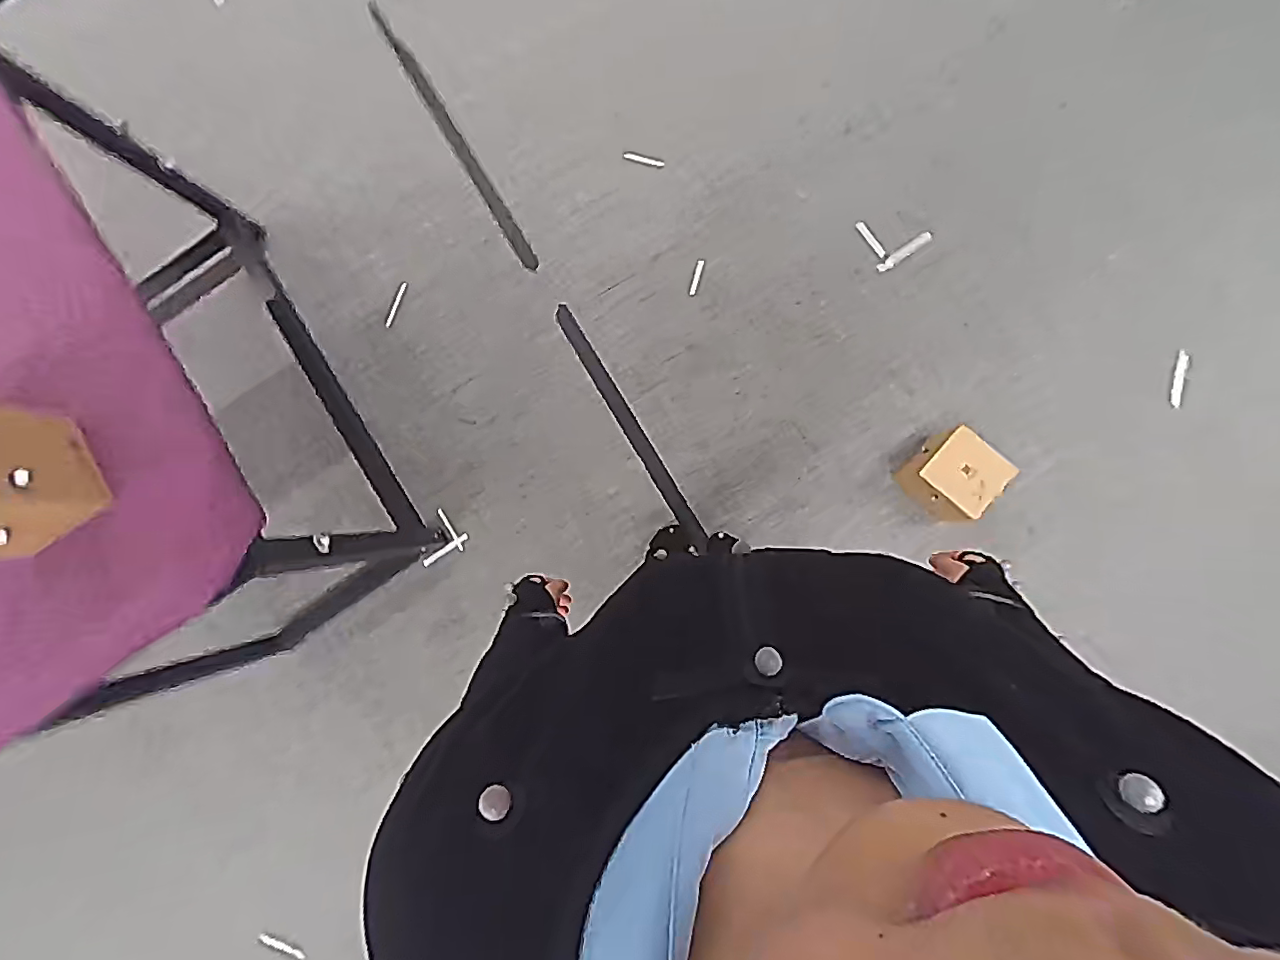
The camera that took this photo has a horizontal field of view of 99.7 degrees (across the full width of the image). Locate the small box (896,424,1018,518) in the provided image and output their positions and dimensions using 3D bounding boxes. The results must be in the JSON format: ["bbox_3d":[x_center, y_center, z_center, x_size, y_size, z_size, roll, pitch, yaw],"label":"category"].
[{"bbox_3d":[0.800,-0.015,1.387,0.179,0.176,0.168,42,89,6],"label":"small box"}]
